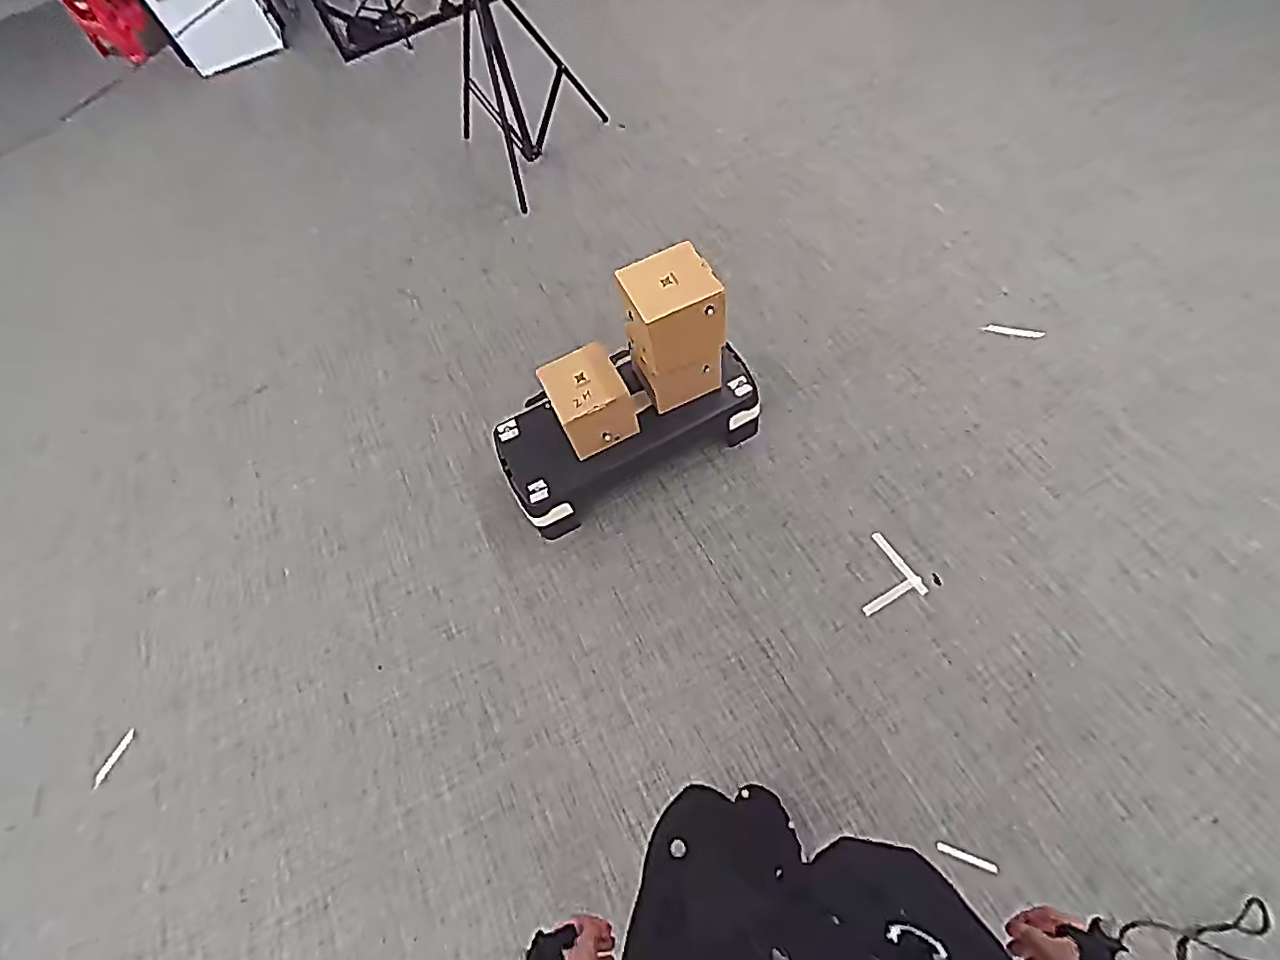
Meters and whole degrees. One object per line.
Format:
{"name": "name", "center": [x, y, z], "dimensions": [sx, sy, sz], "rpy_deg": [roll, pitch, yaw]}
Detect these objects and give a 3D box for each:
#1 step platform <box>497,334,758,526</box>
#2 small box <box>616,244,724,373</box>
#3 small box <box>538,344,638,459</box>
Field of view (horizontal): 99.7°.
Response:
{"name": "step platform", "center": [-0.030, -0.158, 1.454], "dimensions": [0.684, 0.204, 0.286], "rpy_deg": [-28, 63, -5]}
{"name": "small box", "center": [0.069, -0.359, 1.160], "dimensions": [0.179, 0.176, 0.168], "rpy_deg": [-25, 63, -5]}
{"name": "small box", "center": [-0.119, -0.182, 1.284], "dimensions": [0.168, 0.176, 0.179], "rpy_deg": [-26, 63, -4]}
